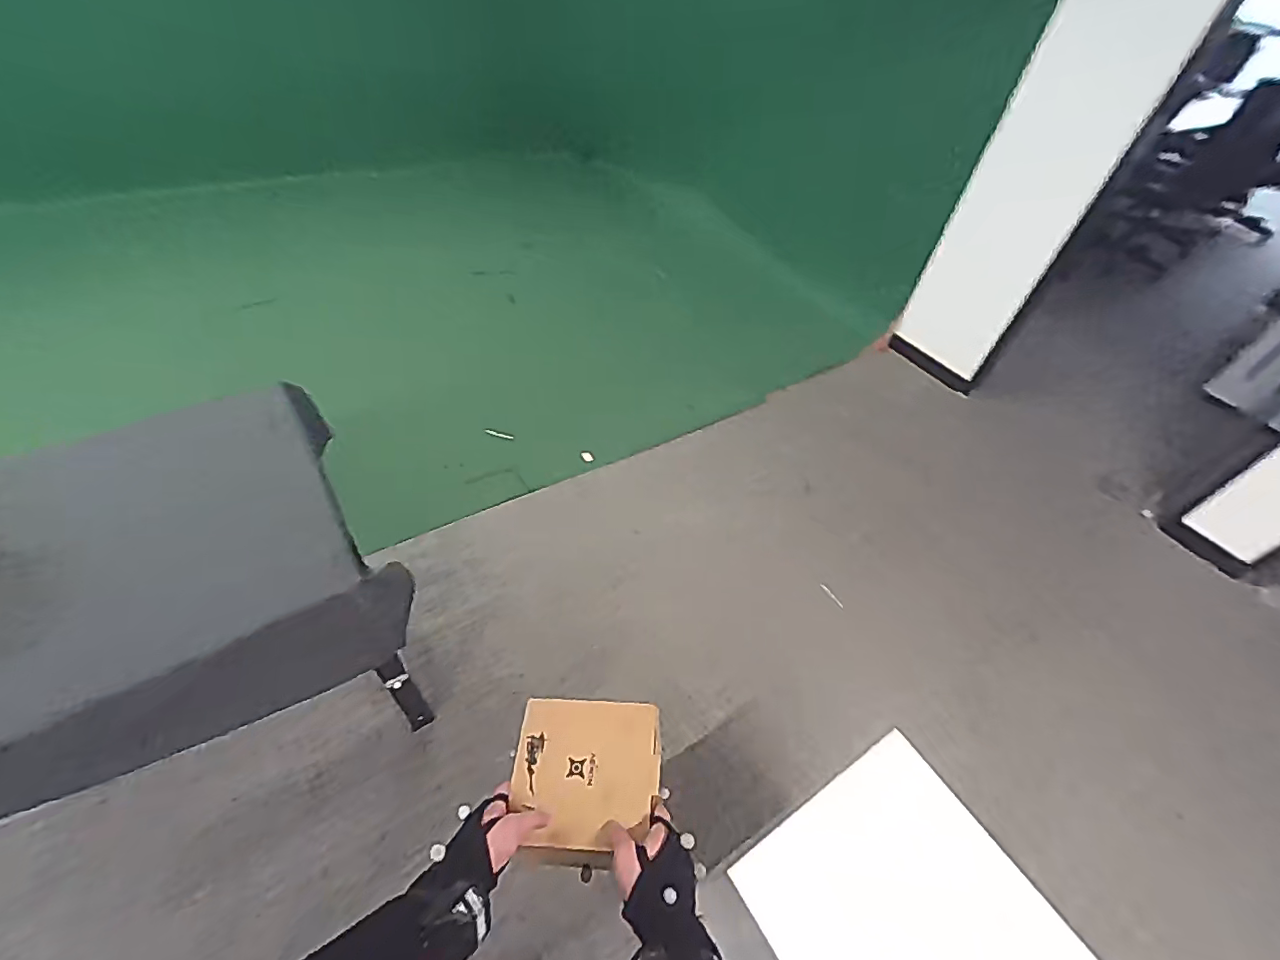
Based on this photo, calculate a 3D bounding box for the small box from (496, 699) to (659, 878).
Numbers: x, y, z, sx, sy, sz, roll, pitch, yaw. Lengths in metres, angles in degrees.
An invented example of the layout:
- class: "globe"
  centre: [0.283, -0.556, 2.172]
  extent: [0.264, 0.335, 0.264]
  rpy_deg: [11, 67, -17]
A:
- class: "small box"
  centre: [-0.068, 0.399, 0.695]
  extent: [0.179, 0.176, 0.168]
  rpy_deg: [2, 48, 1]
